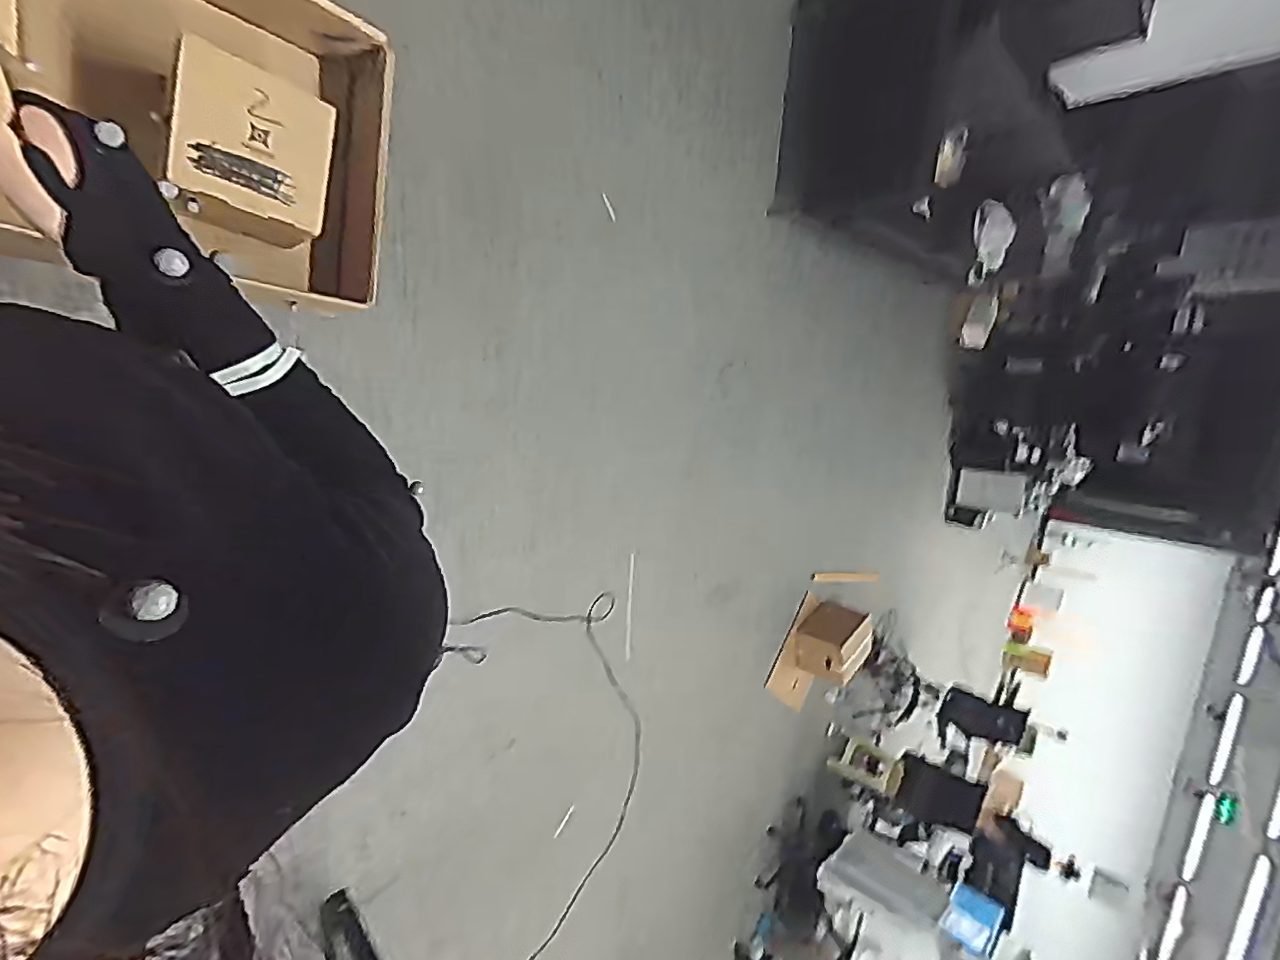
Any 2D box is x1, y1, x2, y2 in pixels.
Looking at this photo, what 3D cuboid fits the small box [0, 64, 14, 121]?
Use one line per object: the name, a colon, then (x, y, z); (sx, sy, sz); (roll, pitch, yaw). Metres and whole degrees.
small box: (-0.459, -0.268, 0.257); (0.179, 0.176, 0.168); (-23, 121, -46)
